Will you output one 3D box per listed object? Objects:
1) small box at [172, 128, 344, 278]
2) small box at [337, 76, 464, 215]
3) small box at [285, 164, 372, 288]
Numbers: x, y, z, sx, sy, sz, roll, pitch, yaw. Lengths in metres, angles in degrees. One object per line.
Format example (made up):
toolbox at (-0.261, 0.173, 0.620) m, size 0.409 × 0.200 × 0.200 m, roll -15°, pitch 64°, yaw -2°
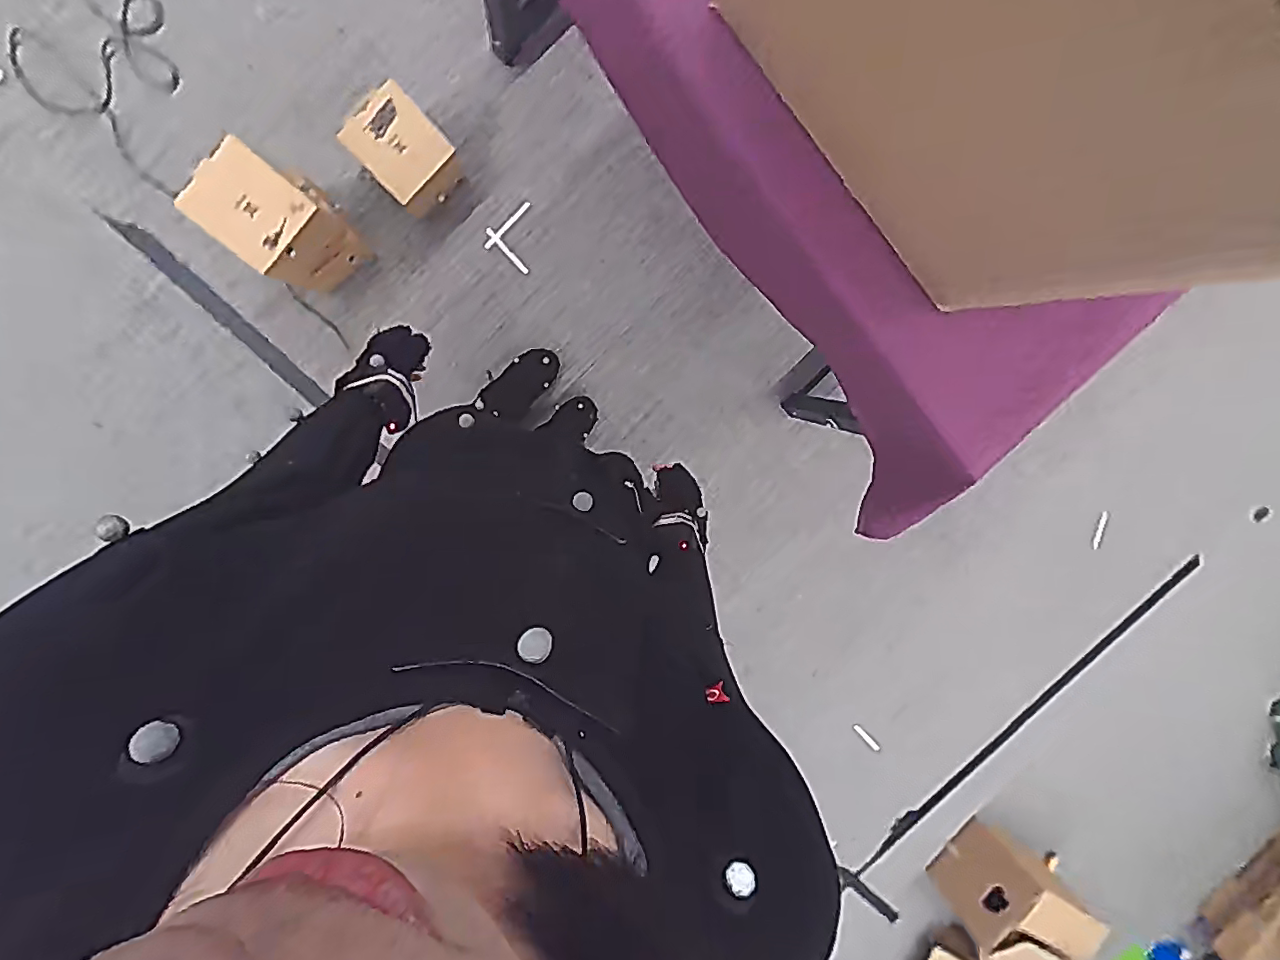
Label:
small box at (-0.716, -0.515, 1.038) m, size 0.179 × 0.176 × 0.168 m, roll 41°, pitch 92°, yaw -16°
small box at (-0.516, -0.723, 1.194) m, size 0.168 × 0.176 × 0.179 m, roll -44°, pitch 108°, yaw 2°
small box at (-0.733, -0.547, 1.198) m, size 0.168 × 0.176 × 0.179 m, roll -39°, pitch 105°, yaw -1°
